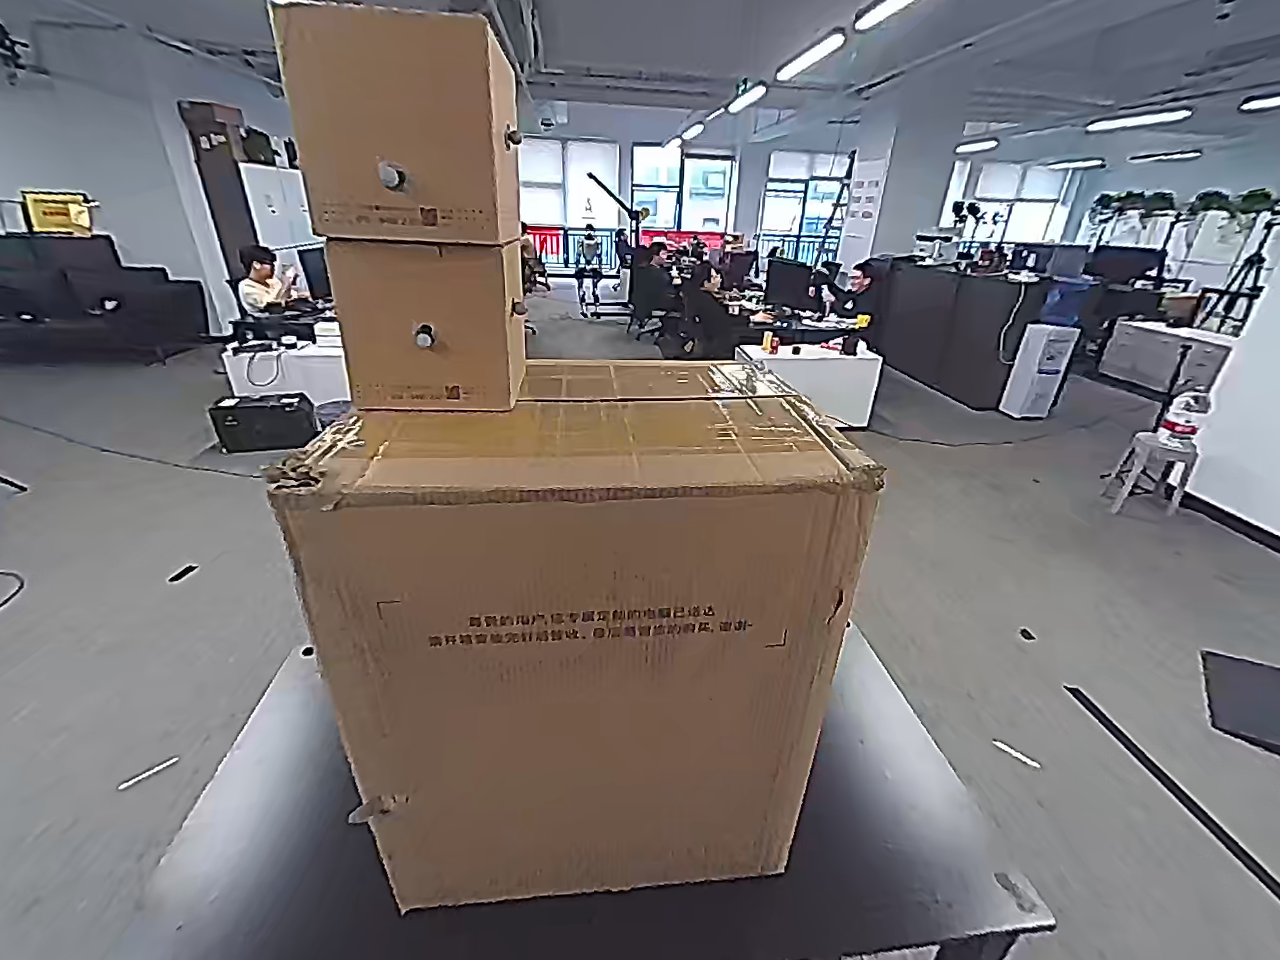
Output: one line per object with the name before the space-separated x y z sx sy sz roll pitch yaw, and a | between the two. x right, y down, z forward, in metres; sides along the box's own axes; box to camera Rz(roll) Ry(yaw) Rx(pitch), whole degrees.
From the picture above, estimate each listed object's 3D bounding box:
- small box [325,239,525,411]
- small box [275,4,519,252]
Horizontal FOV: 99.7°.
small box | -0.224 -0.183 0.618 0.168 0.176 0.179 0 26 -7
small box | -0.213 -0.324 0.531 0.168 0.176 0.179 0 26 -6
